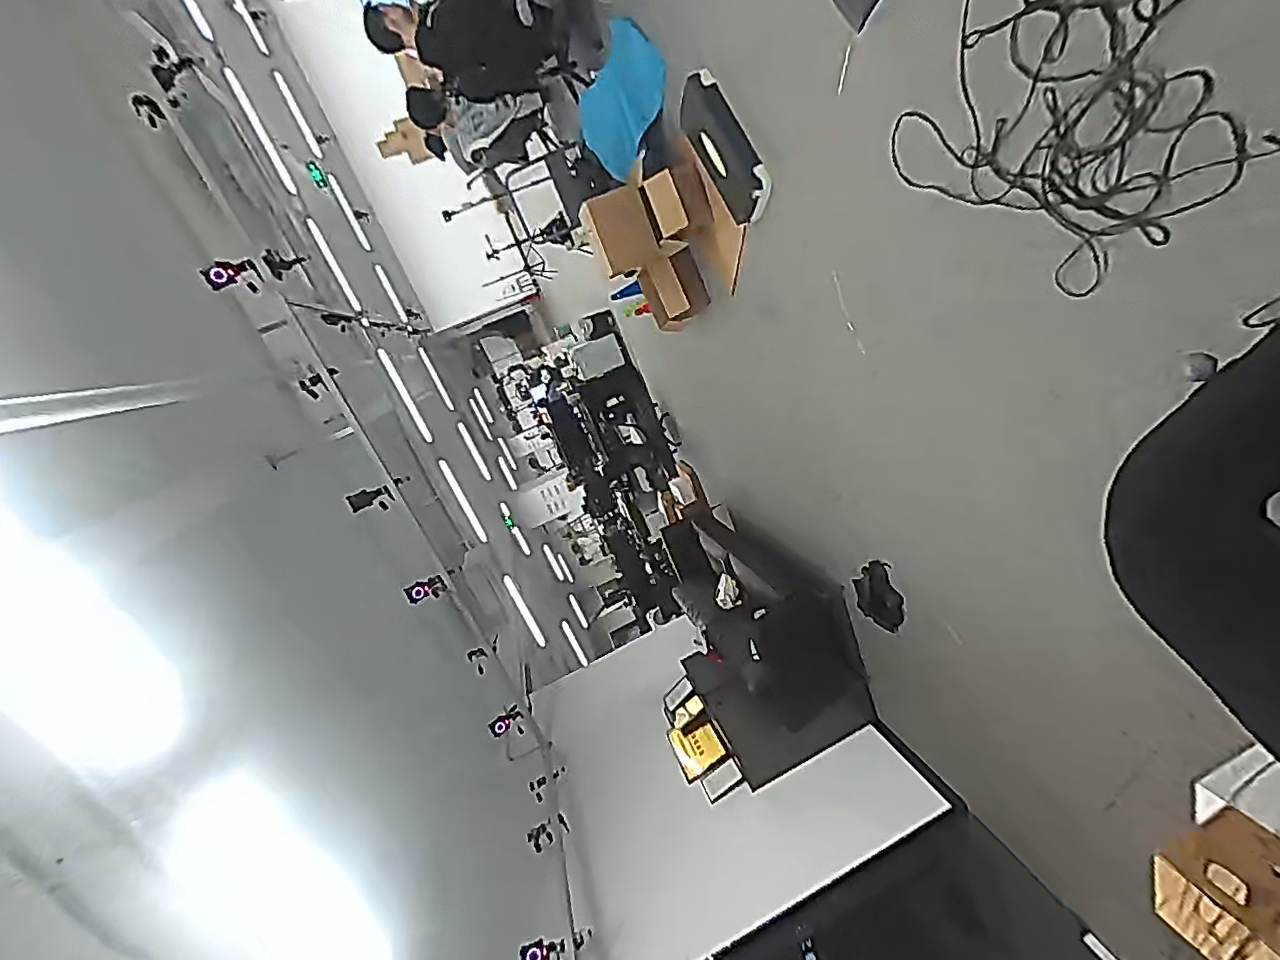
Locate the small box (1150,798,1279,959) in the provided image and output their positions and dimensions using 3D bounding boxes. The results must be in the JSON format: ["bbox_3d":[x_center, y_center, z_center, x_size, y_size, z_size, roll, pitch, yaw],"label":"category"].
[{"bbox_3d":[0.982,0.668,0.873,0.179,0.176,0.168,67,172,-21],"label":"small box"}]
